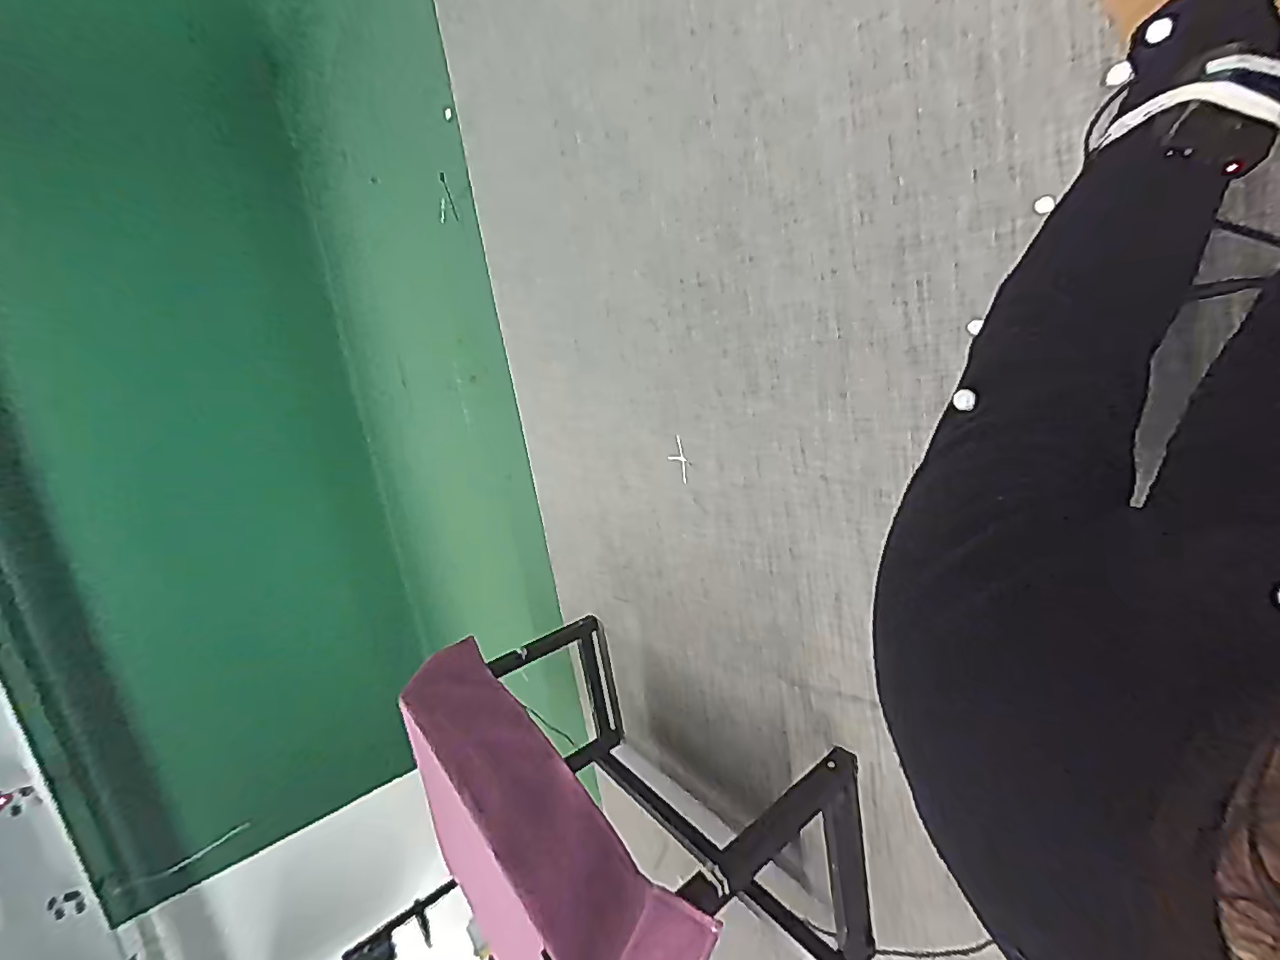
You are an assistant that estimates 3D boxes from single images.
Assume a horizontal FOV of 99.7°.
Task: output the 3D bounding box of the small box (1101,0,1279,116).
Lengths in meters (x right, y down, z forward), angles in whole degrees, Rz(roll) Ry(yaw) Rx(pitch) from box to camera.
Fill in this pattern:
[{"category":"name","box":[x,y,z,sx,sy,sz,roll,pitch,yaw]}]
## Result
[{"category":"small box","box":[0.528,-0.462,0.450,0.168,0.176,0.179,13,84,58]}]
